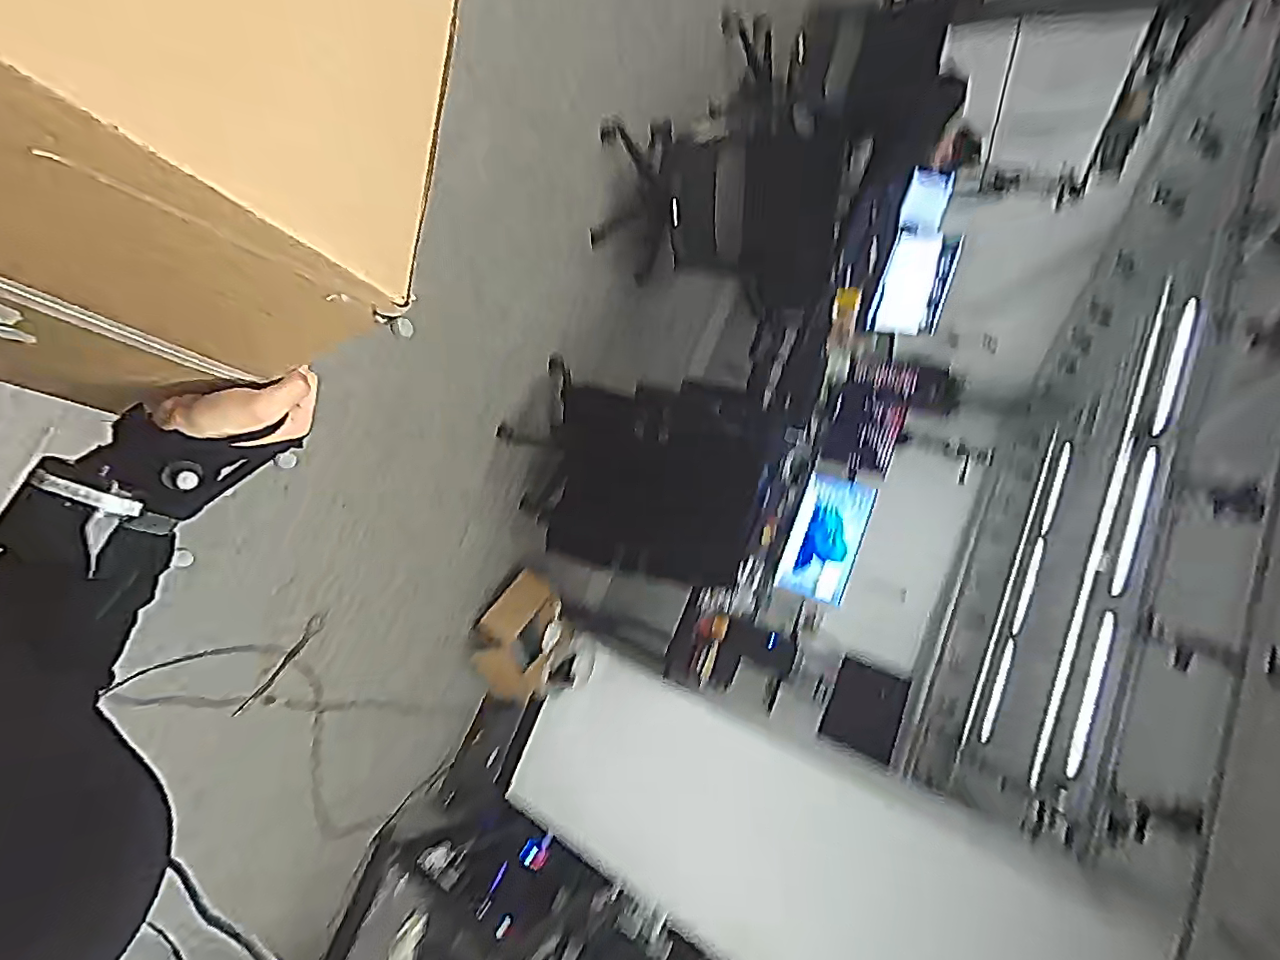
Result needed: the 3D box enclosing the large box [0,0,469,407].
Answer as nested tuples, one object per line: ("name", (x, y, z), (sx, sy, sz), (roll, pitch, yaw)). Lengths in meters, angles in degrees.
("large box", (-0.343, -0.279, 0.260), (0.408, 0.320, 0.320), (24, 60, -54))
